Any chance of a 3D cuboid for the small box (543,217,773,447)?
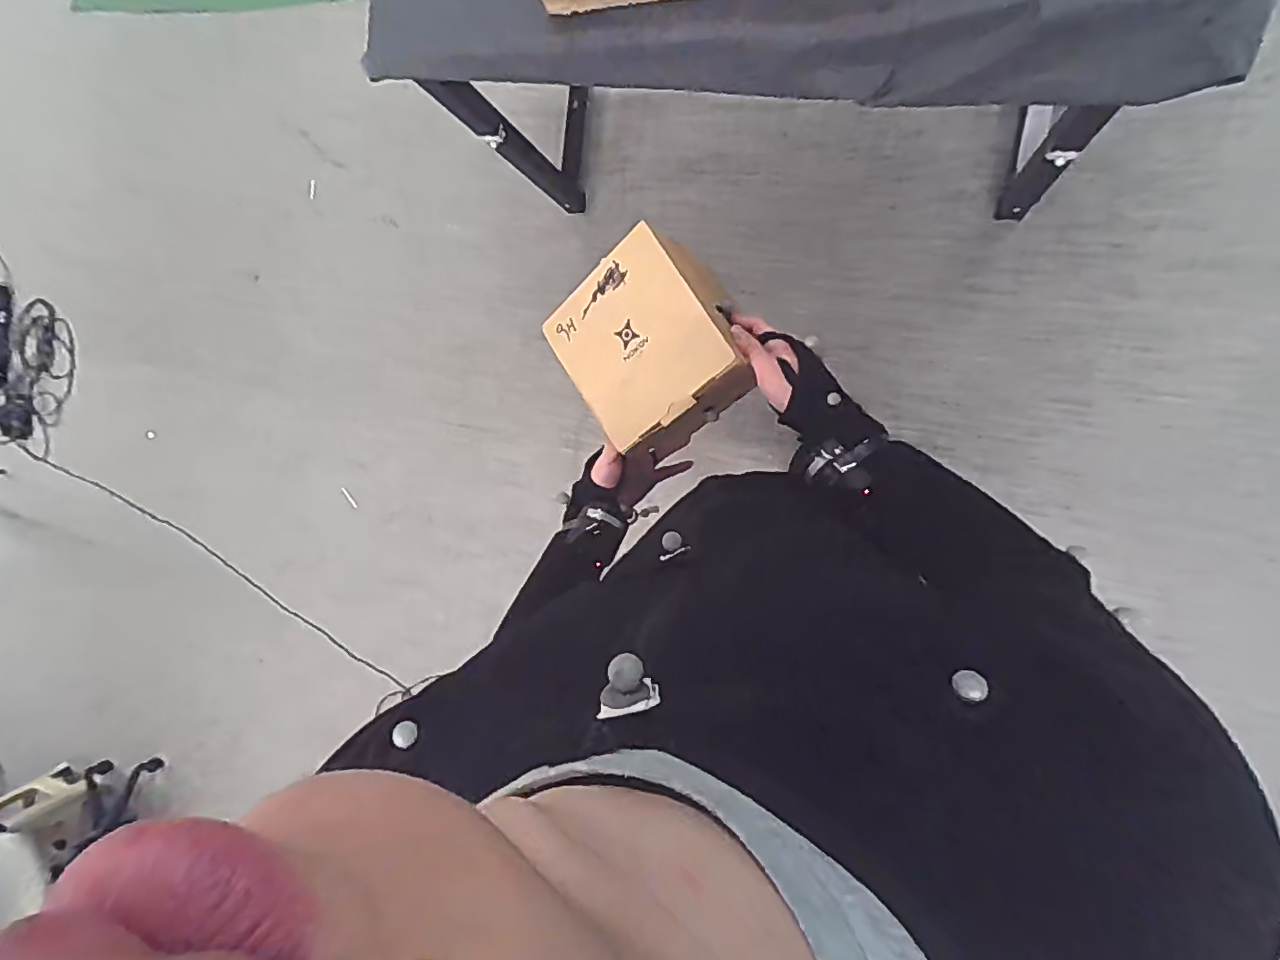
[{"bbox_3d":[0.029,-0.162,0.626,0.168,0.176,0.179,-36,82,28],"label":"small box"}]
